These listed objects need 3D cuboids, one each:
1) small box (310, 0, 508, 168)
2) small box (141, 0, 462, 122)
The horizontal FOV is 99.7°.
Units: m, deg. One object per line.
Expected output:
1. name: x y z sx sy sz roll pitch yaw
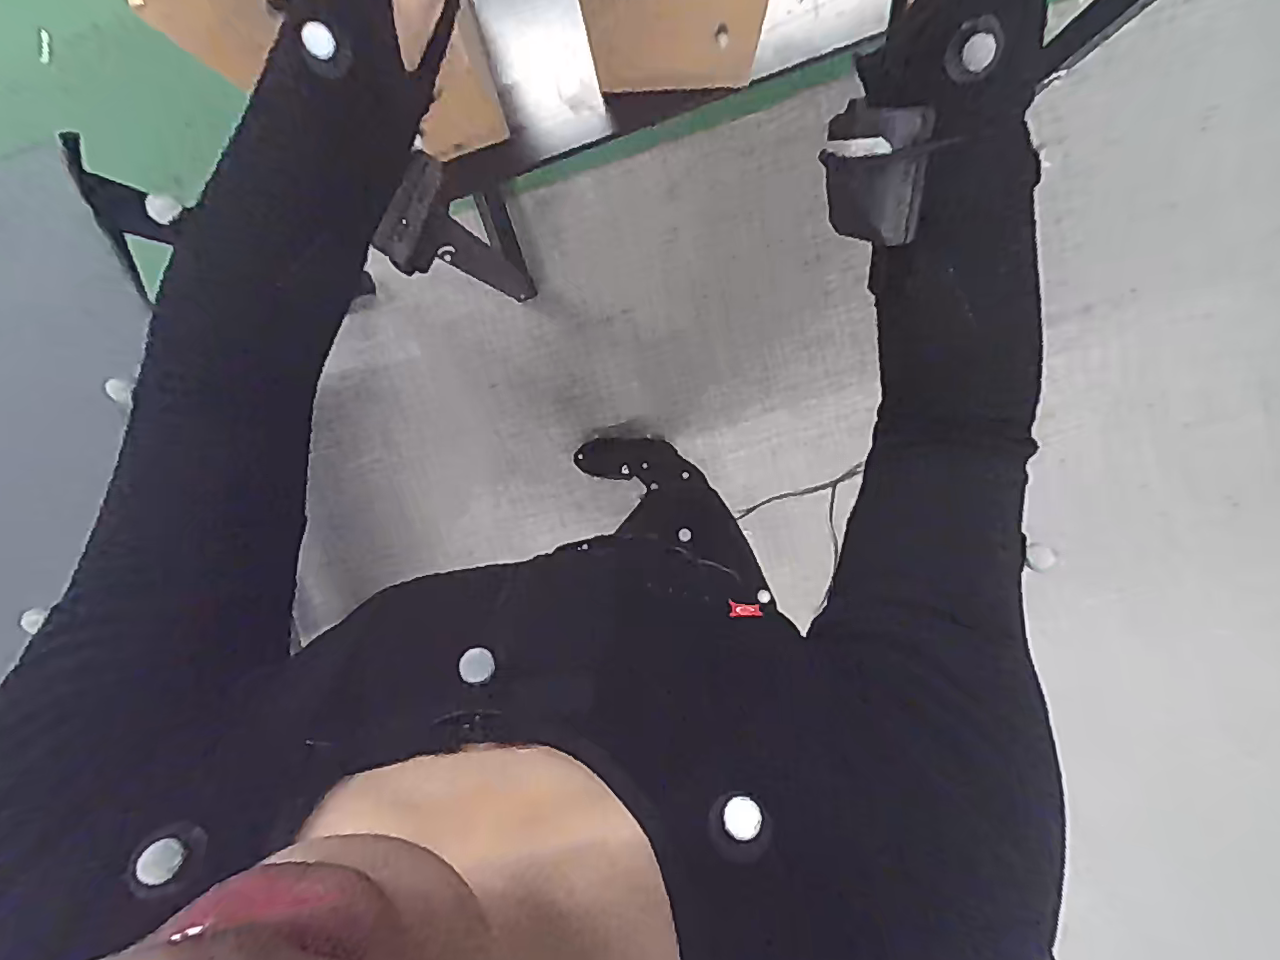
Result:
1. small box: -0.256 -0.455 0.562 0.168 0.176 0.179 -16 99 5
2. small box: -0.255 -0.414 0.405 0.179 0.176 0.168 -17 99 6
